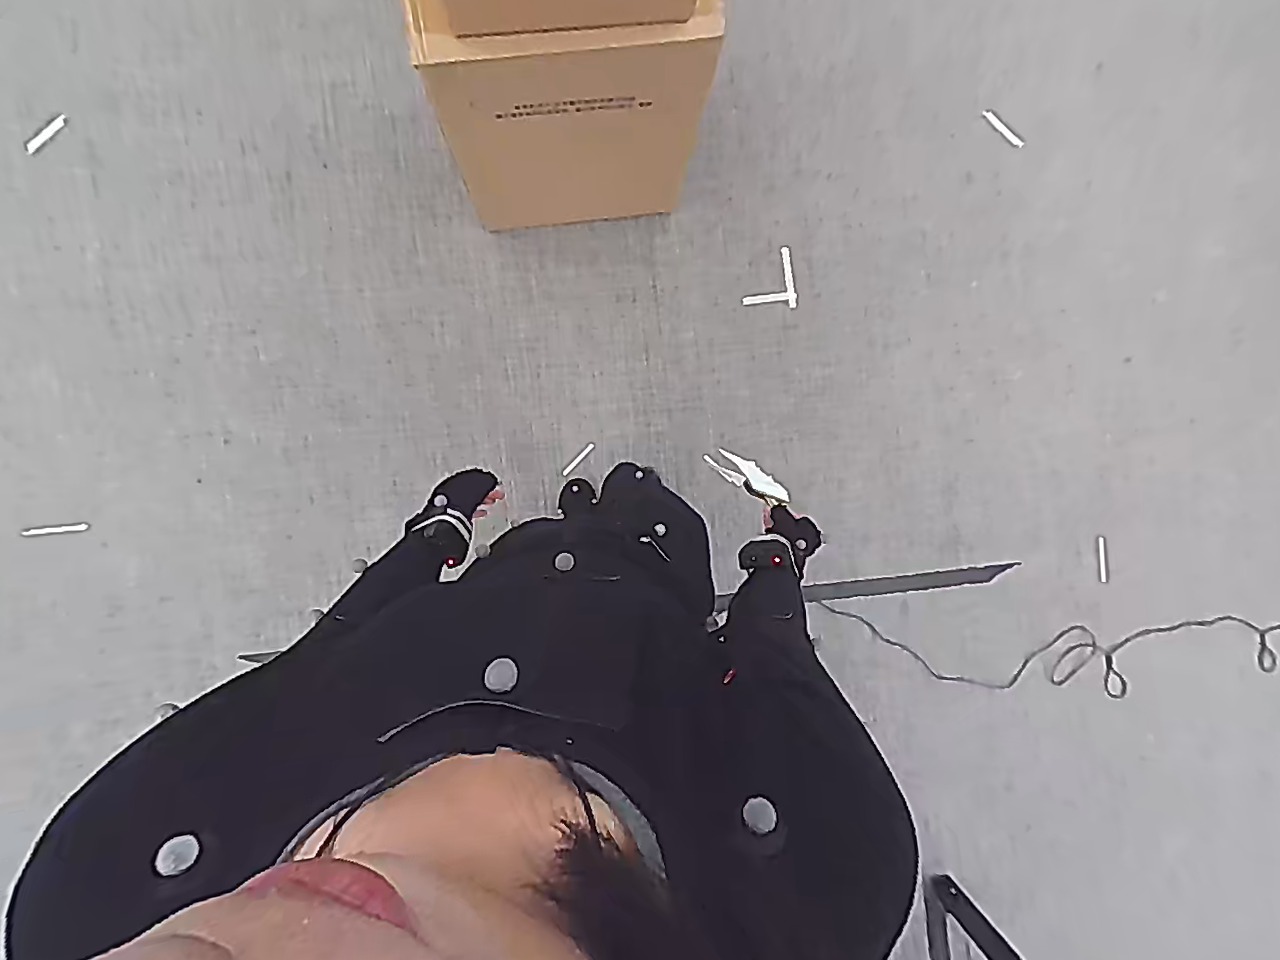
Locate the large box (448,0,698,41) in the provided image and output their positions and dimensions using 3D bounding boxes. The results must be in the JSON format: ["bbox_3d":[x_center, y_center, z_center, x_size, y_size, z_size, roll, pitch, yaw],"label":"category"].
[{"bbox_3d":[-0.112,-0.893,0.750,0.408,0.320,0.320,-9,92,-5],"label":"large box"}]
